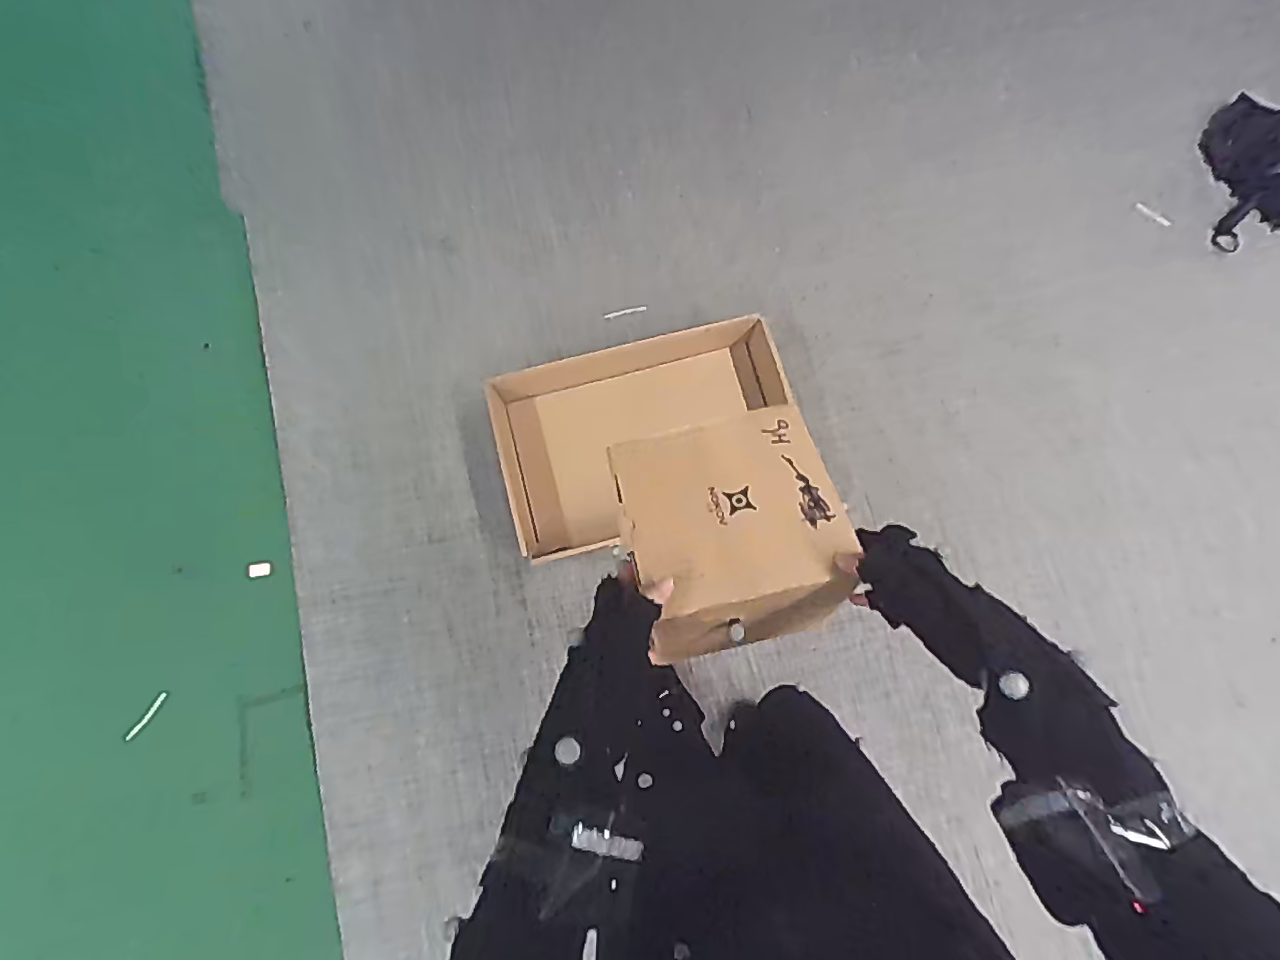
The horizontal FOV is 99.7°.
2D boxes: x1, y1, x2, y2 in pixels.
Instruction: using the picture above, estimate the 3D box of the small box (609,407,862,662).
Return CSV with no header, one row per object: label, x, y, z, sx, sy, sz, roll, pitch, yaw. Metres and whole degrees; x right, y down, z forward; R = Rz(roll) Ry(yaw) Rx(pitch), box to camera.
small box,0.080,0.061,0.526,0.179,0.176,0.168,-15,58,-4
